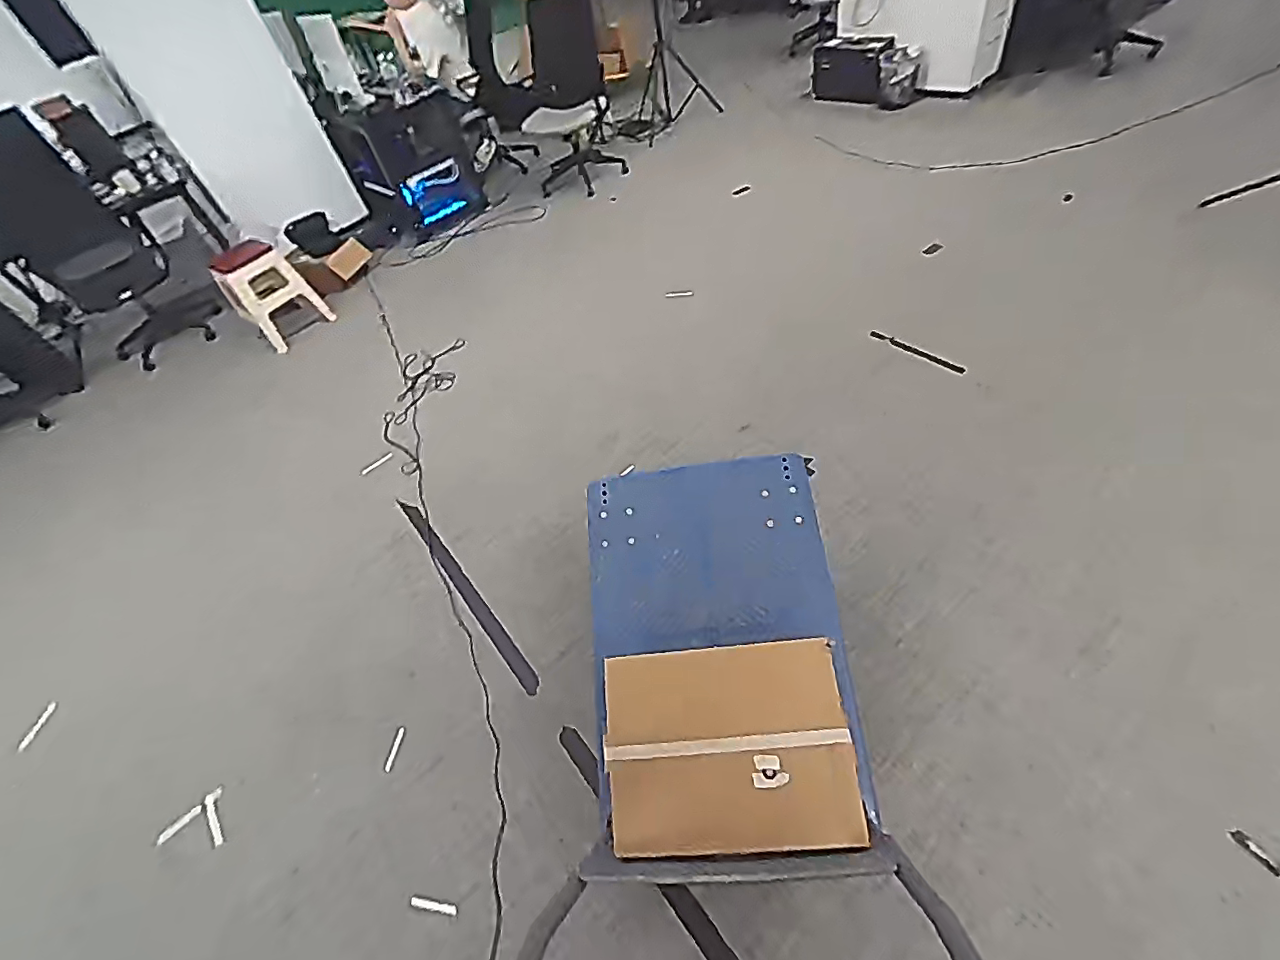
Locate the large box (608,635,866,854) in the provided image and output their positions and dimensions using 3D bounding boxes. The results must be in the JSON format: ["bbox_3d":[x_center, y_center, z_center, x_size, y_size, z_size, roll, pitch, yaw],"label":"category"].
[{"bbox_3d":[0.170,0.503,1.064,0.408,0.320,0.320,-8,67,6],"label":"large box"}]
